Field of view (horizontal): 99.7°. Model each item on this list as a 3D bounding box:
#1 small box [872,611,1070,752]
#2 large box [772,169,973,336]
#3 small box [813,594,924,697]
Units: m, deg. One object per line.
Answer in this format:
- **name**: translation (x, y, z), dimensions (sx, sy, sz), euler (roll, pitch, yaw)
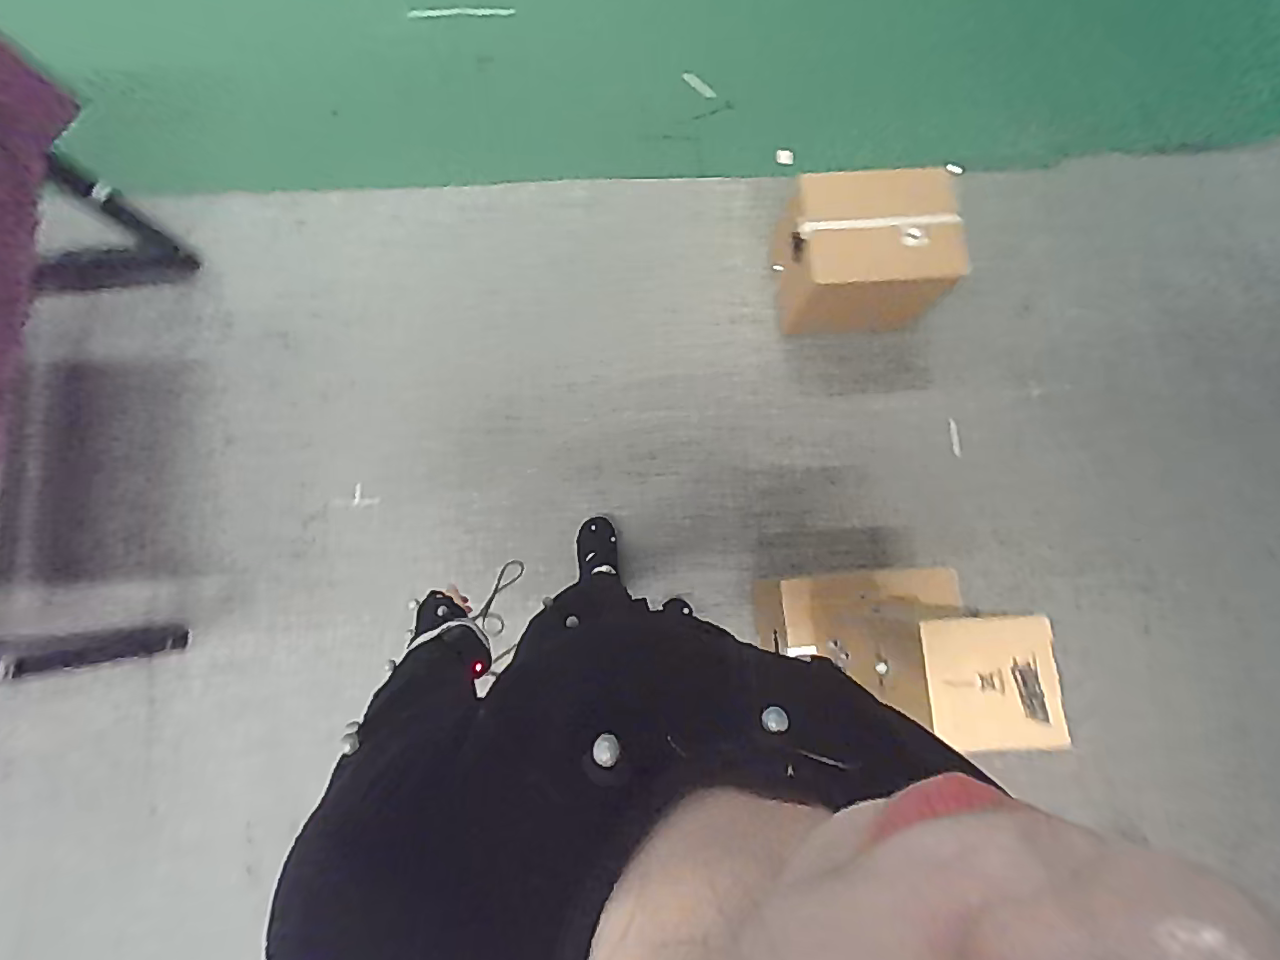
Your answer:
- **small box**: translation (0.464, 0.280, 0.784), dimensions (0.179, 0.176, 0.168), euler (-2, 79, 0)
- **large box**: translation (0.623, -0.621, 1.518), dimensions (0.408, 0.320, 0.320), euler (-3, 80, -3)
- **small box**: translation (0.471, 0.331, 1.109), dimensions (0.168, 0.176, 0.179), euler (-5, 79, -2)
